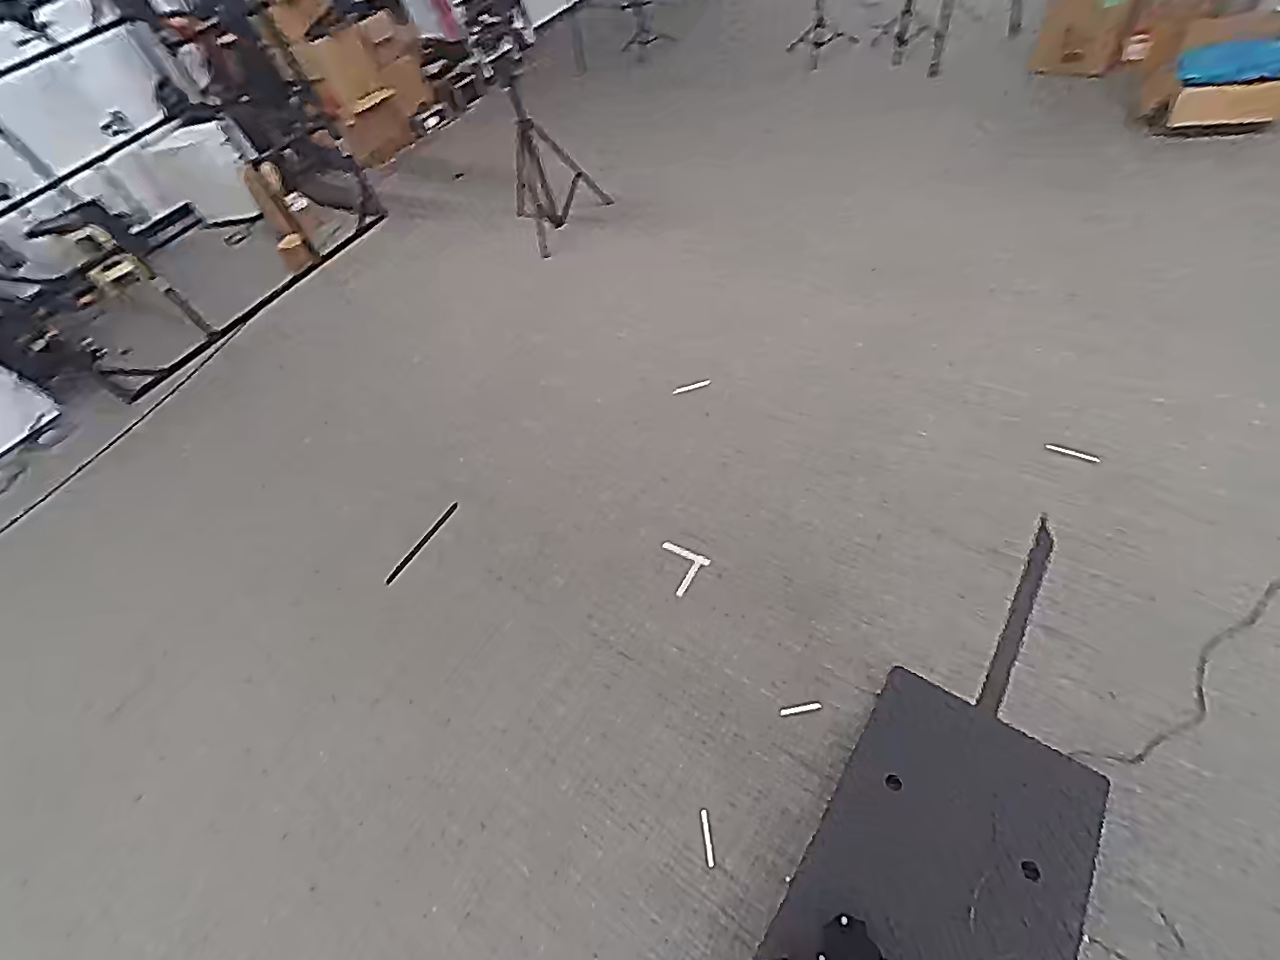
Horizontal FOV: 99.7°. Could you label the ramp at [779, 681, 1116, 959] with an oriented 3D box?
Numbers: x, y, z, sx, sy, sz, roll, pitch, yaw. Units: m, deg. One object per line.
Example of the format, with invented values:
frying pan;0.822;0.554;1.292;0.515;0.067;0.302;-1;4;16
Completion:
ramp;0.601;0.919;1.088;0.509;0.206;0.991;21;60;30
